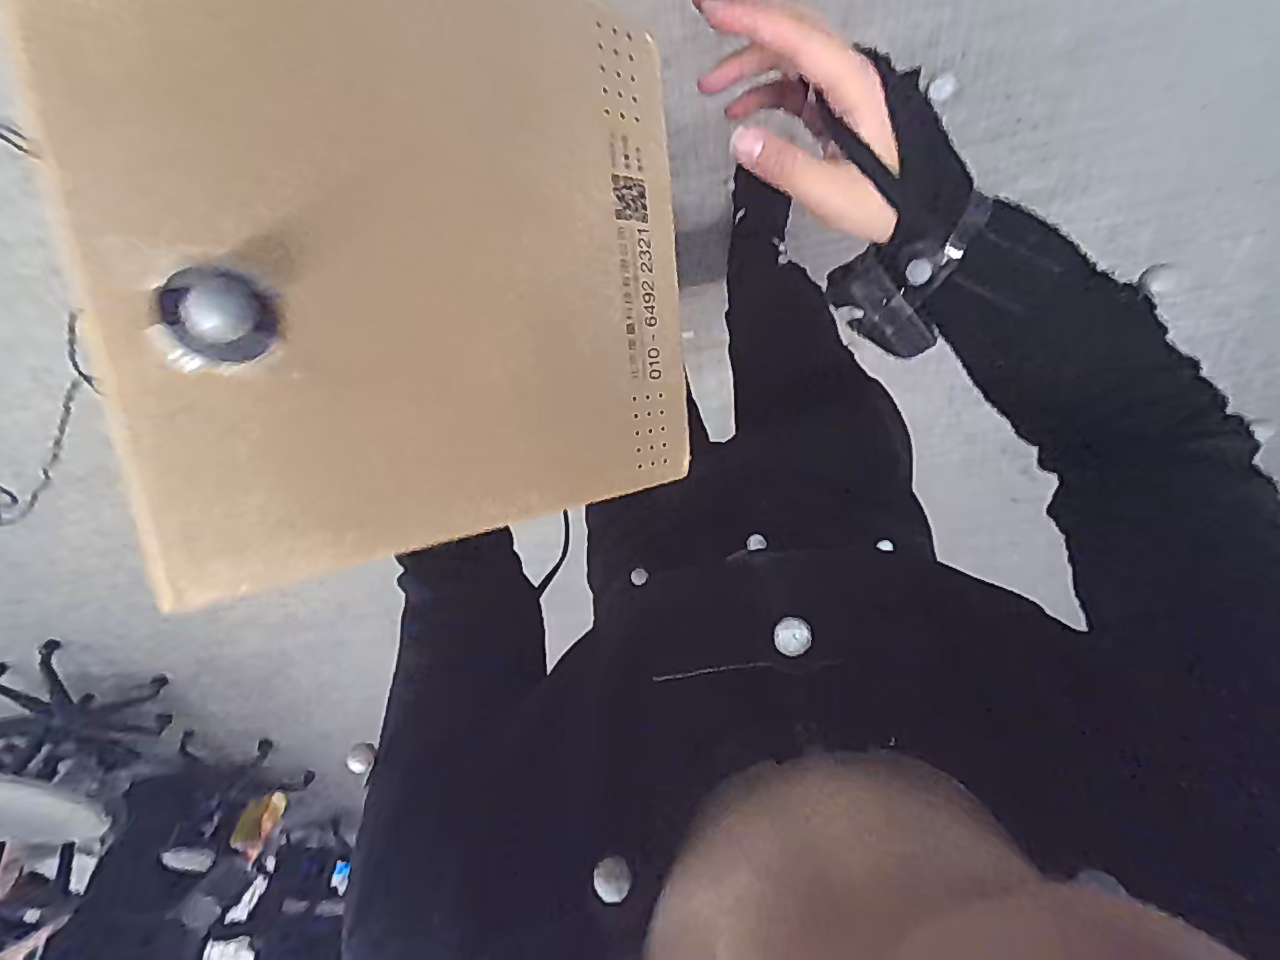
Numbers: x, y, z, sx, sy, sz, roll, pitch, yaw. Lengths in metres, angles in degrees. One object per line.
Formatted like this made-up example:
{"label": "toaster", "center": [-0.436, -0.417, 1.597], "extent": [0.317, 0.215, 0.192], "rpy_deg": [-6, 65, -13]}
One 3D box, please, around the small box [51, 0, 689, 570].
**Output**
{"label": "small box", "center": [-0.100, -0.080, 0.229], "extent": [0.176, 0.179, 0.168], "rpy_deg": [-14, 104, -37]}
